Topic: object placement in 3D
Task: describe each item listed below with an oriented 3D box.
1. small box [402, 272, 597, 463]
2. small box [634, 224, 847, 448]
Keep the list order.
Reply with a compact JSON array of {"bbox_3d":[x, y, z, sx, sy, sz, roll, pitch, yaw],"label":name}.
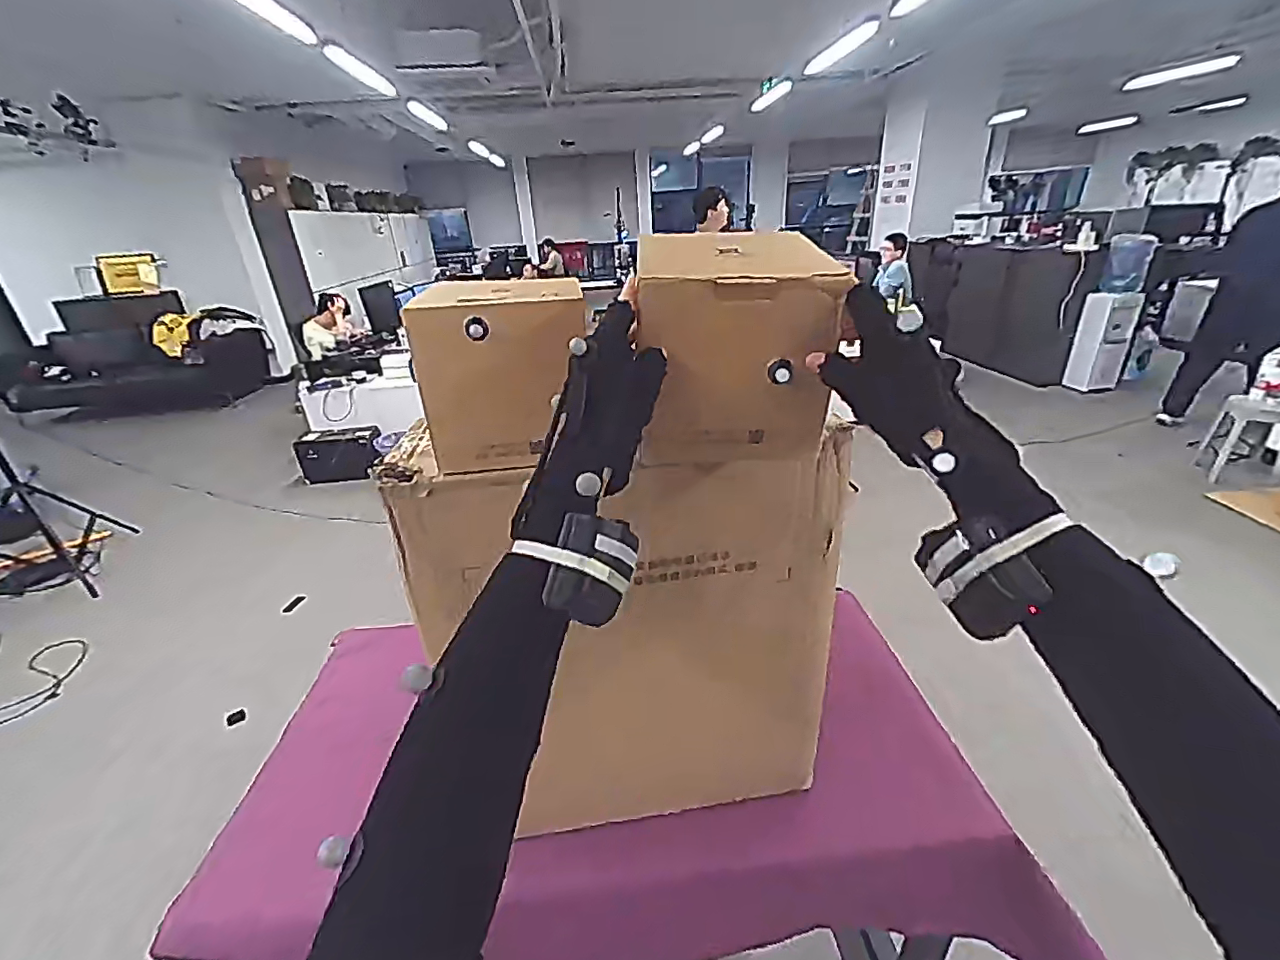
[{"bbox_3d":[-0.139,-0.130,0.596,0.168,0.176,0.179,-6,26,-5],"label":"small box"},{"bbox_3d":[0.080,-0.139,0.521,0.168,0.176,0.179,-1,33,0],"label":"small box"}]
